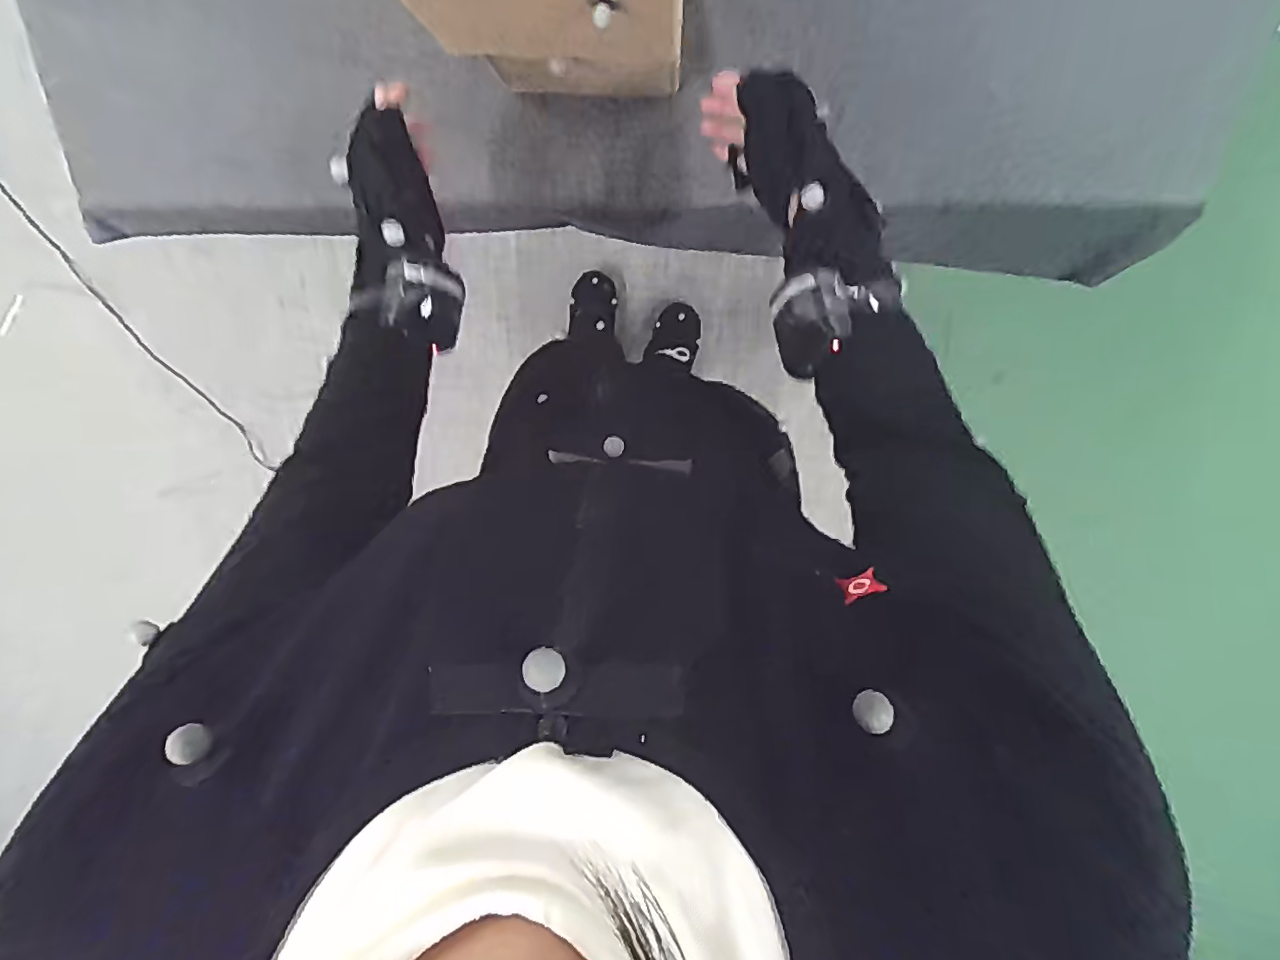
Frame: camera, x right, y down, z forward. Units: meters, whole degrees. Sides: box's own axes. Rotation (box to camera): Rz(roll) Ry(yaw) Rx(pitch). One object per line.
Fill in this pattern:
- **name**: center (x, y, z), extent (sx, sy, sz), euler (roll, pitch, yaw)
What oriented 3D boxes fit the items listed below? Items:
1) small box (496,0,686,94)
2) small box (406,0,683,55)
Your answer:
- **small box**: center (-0.048, -0.451, 0.456), extent (0.179, 0.176, 0.168), euler (0, 107, 2)
- **small box**: center (-0.058, -0.364, 0.295), extent (0.179, 0.176, 0.168), euler (-1, 109, 3)
